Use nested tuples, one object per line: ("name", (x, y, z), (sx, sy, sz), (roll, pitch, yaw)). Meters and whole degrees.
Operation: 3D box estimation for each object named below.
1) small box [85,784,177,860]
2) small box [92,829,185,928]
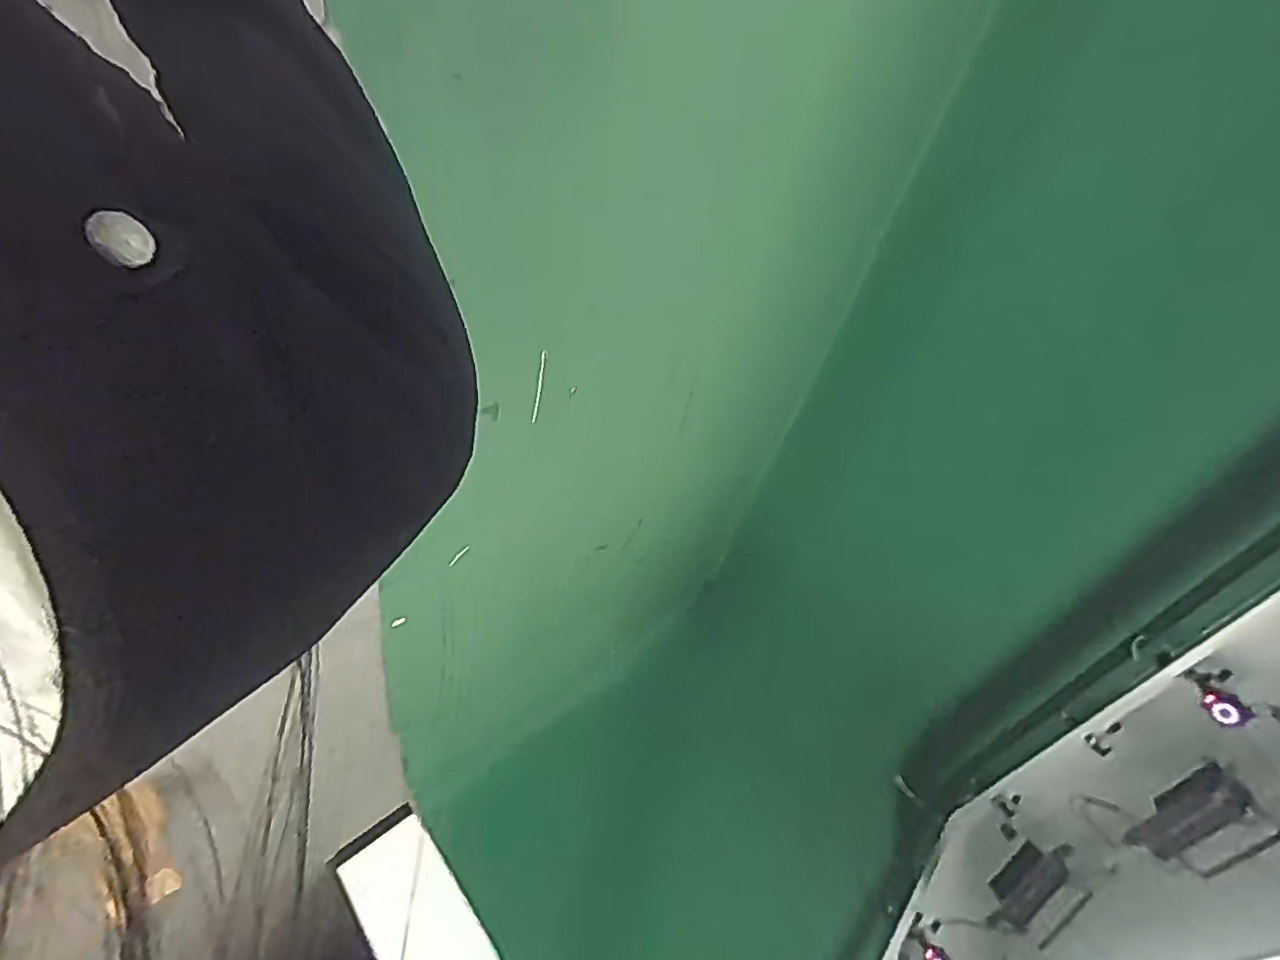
("small box", (-1.697, 1.164, 1.804), (0.179, 0.176, 0.168), (-21, 140, -43))
("small box", (-1.596, 1.262, 1.724), (0.168, 0.176, 0.179), (-25, 142, -43))
